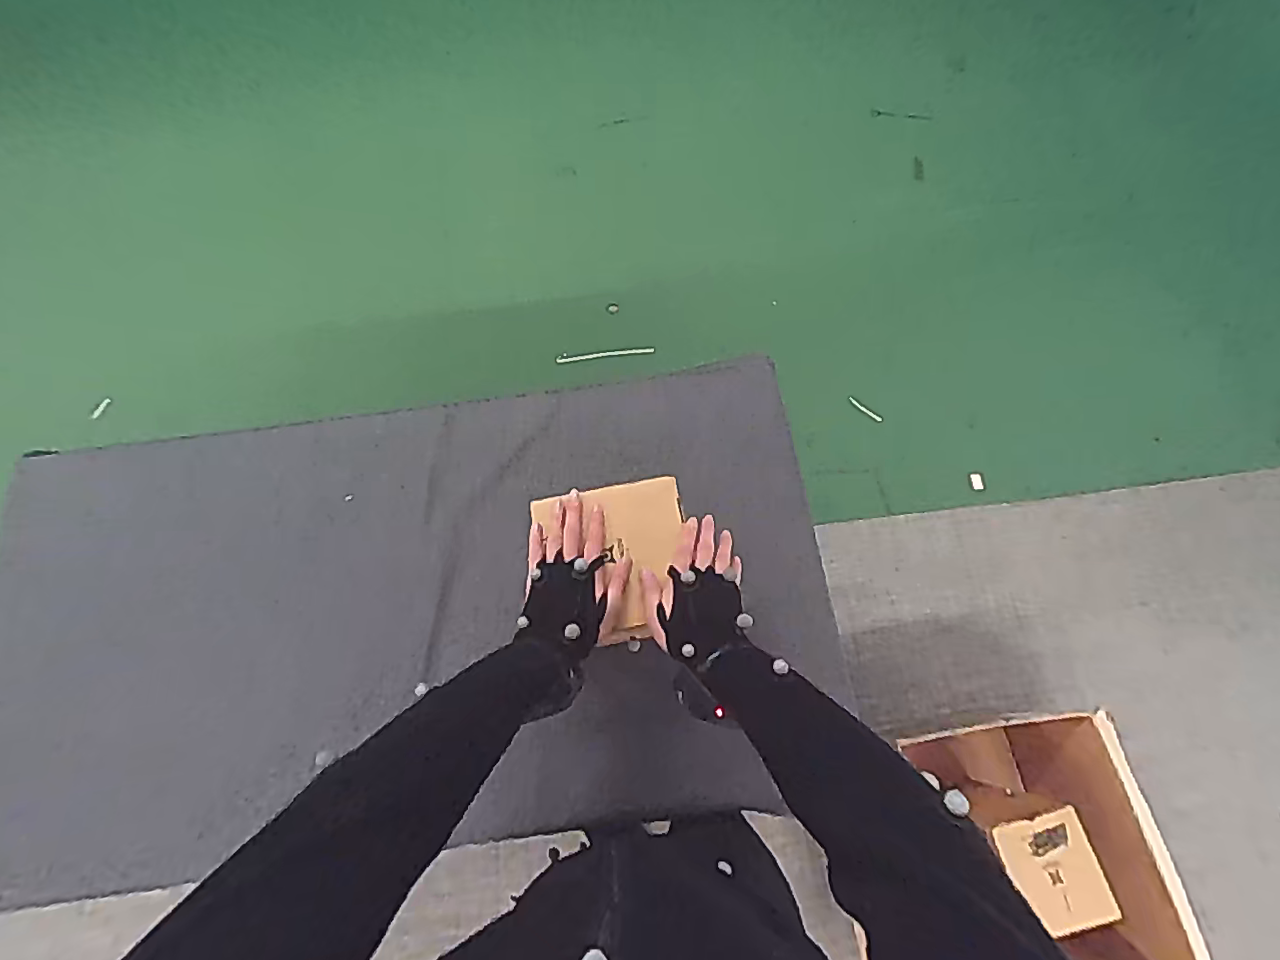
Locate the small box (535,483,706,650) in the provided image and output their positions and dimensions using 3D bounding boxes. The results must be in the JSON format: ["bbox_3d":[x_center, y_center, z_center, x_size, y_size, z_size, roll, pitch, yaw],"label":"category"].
[{"bbox_3d":[-0.024,0.120,0.703,0.179,0.176,0.168,-13,71,-2],"label":"small box"}]
